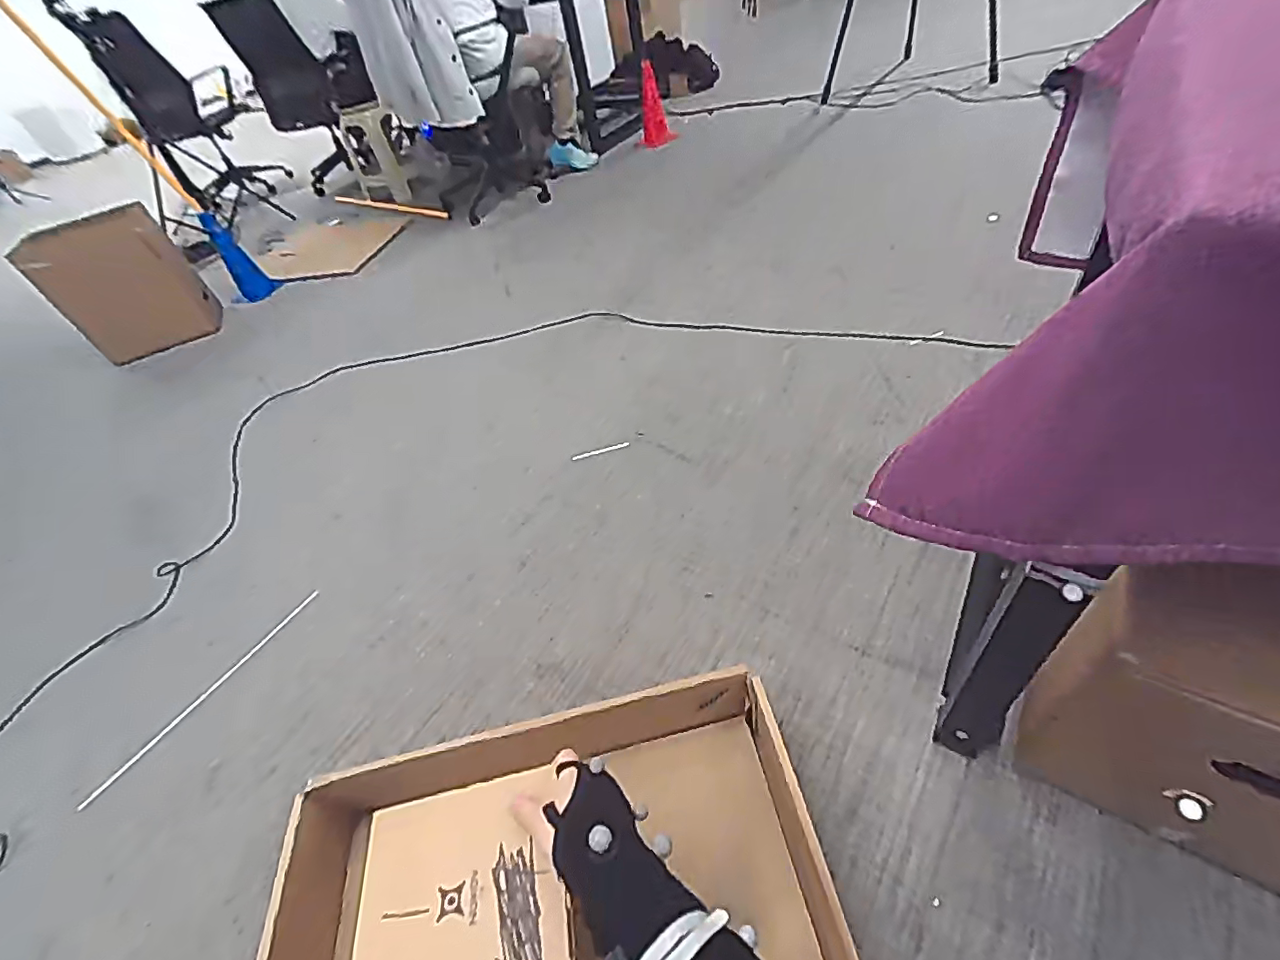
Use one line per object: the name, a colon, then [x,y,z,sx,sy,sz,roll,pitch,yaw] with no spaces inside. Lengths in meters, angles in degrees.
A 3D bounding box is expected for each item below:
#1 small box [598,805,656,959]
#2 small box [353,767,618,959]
small box: [-0.090,0.491,0.602,0.179,0.176,0.168,-16,47,1]
small box: [-0.123,0.383,0.483,0.179,0.176,0.168,-16,46,3]
